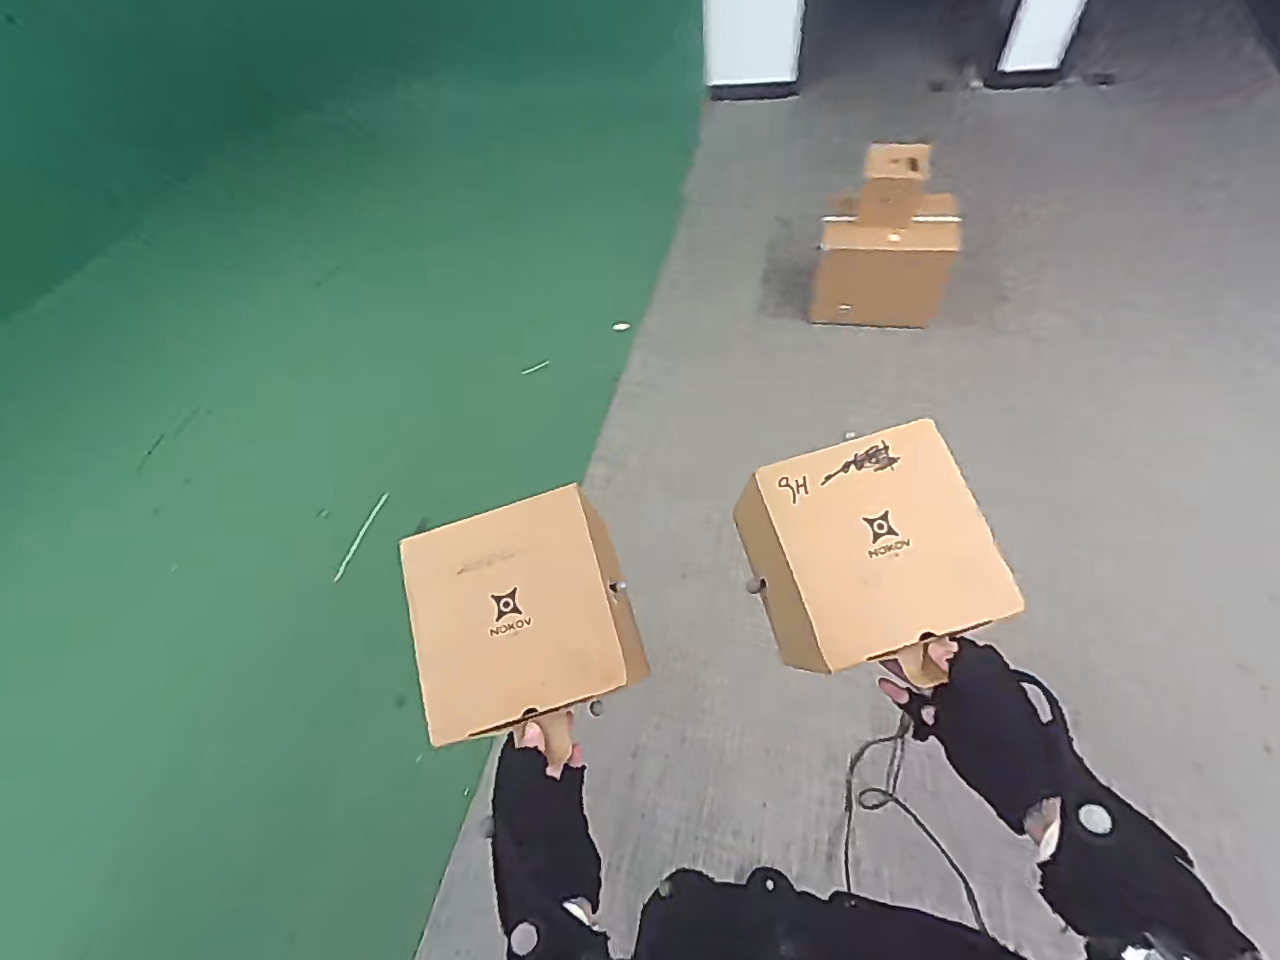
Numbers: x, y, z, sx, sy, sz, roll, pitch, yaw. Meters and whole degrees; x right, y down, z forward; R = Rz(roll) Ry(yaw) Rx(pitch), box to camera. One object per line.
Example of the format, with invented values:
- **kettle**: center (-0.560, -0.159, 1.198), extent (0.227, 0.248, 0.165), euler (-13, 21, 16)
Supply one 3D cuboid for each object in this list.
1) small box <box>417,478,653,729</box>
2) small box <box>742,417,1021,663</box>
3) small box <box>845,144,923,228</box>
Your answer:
- **small box**: center (-0.091, 0.121, 0.532), extent (0.168, 0.176, 0.179), euler (-17, 71, 1)
- **small box**: center (0.211, 0.065, 0.529), extent (0.168, 0.176, 0.179), euler (-16, 74, -2)
- **small box**: center (0.764, -0.921, 1.701), extent (0.179, 0.176, 0.168), euler (14, 64, 16)
